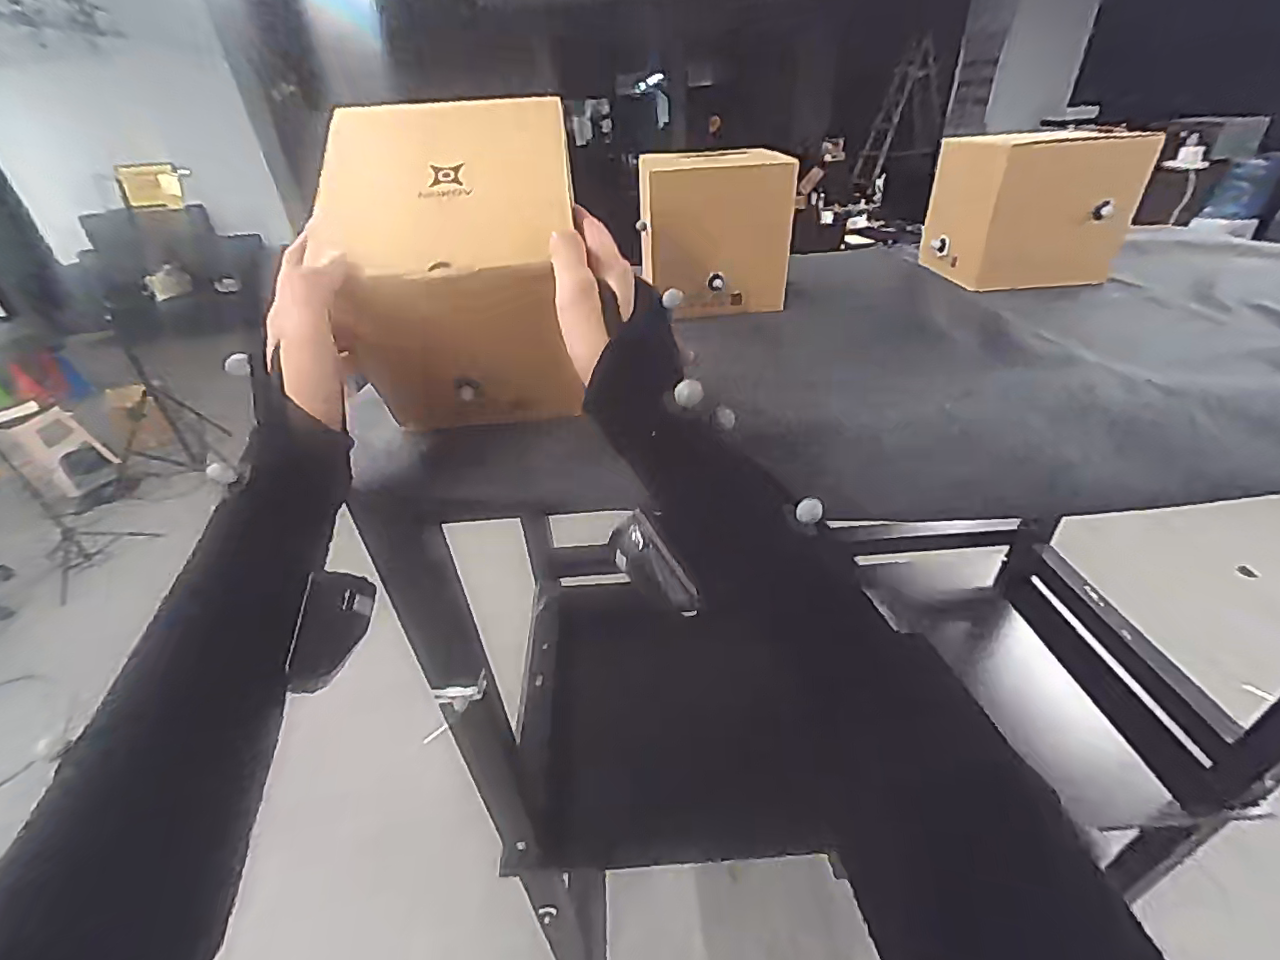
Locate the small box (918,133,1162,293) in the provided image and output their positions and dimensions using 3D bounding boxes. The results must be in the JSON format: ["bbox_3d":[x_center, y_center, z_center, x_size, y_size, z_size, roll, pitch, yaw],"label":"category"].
[{"bbox_3d":[0.505,-0.355,0.718,0.179,0.176,0.168,-3,33,1],"label":"small box"}]

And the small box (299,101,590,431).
[{"bbox_3d":[-0.131,-0.160,0.430,0.168,0.176,0.179,-6,66,-4],"label":"small box"}]
